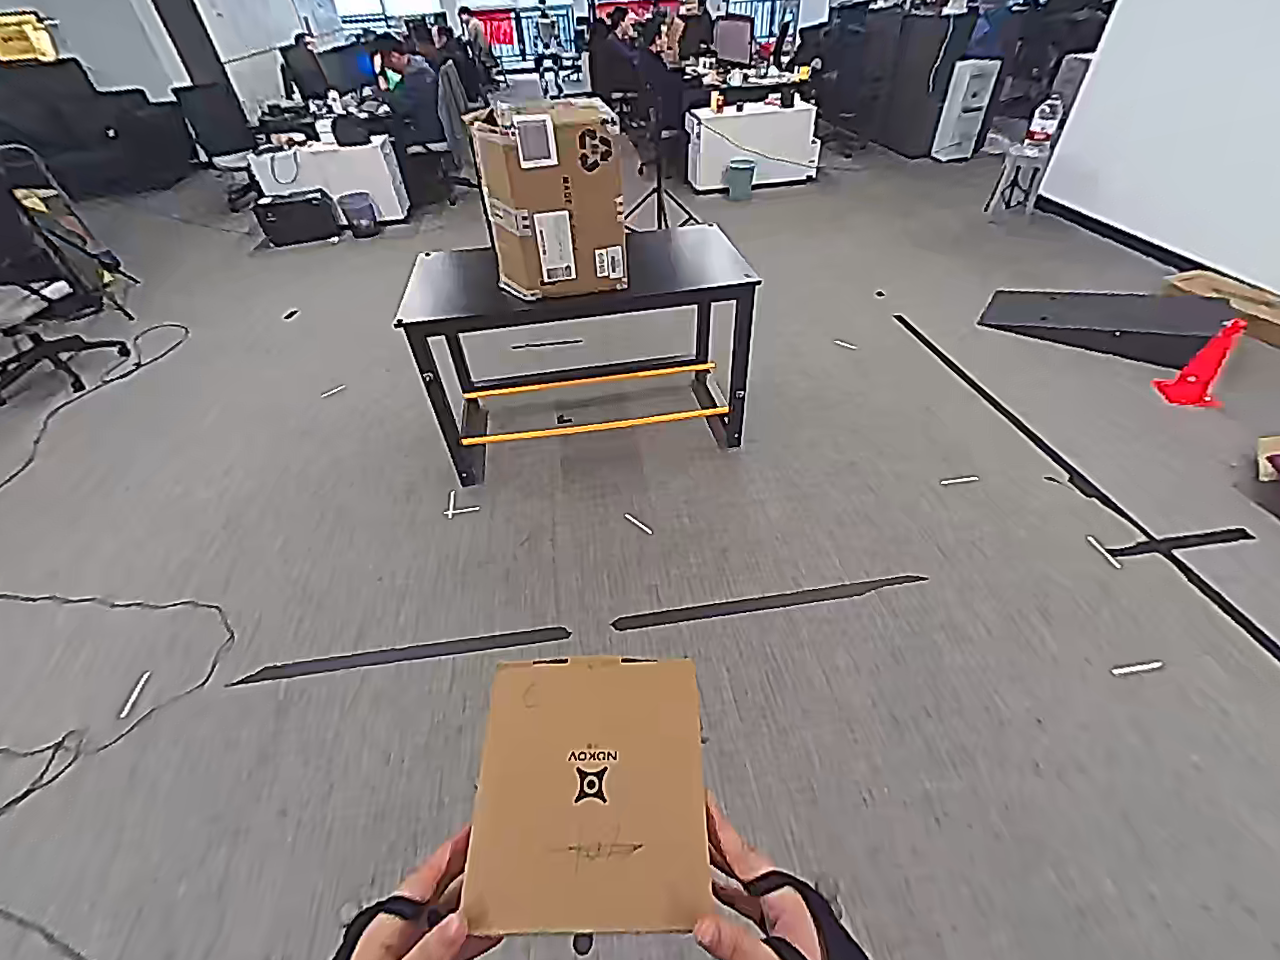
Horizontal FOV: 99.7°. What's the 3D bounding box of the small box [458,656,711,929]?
[{"bbox_3d":[-0.036,0.265,0.458,0.168,0.176,0.179,-1,53,0],"label":"small box"}]
